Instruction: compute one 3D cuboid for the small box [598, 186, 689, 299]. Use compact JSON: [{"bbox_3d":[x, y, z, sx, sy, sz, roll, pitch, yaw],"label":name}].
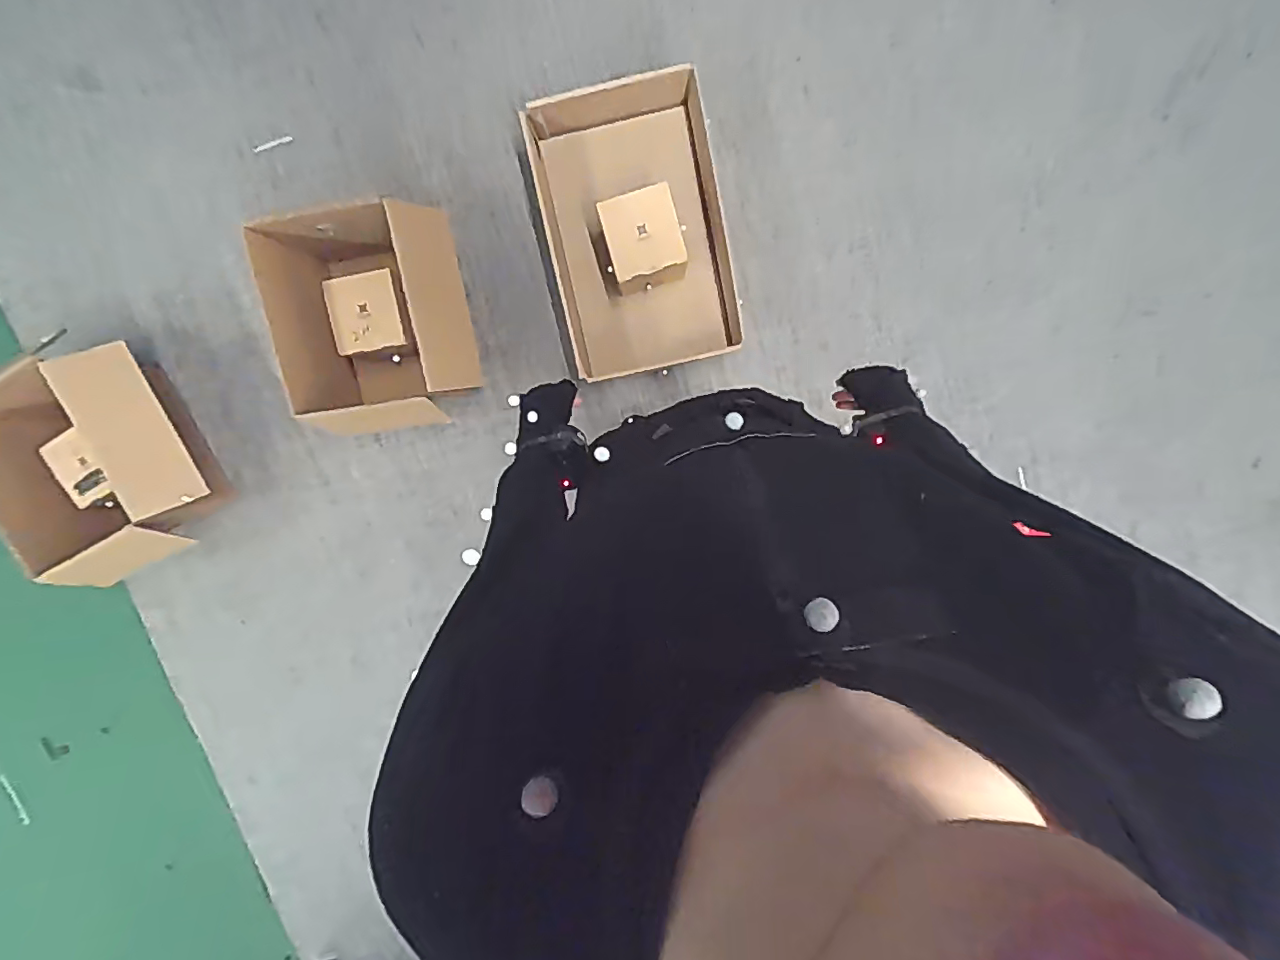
[{"bbox_3d":[0.008,-0.547,1.269,0.168,0.176,0.179,-17,97,3],"label":"small box"}]
